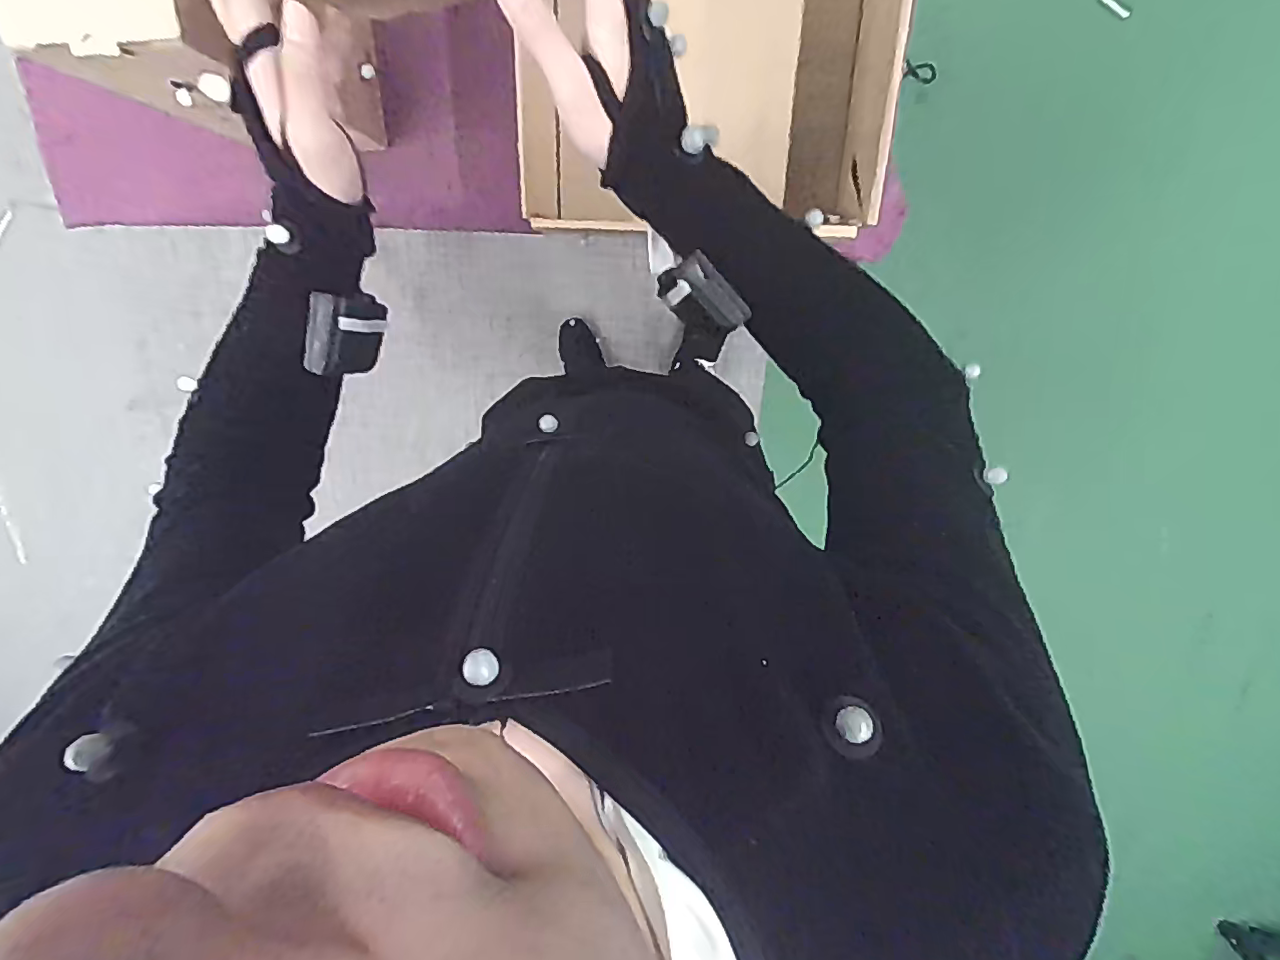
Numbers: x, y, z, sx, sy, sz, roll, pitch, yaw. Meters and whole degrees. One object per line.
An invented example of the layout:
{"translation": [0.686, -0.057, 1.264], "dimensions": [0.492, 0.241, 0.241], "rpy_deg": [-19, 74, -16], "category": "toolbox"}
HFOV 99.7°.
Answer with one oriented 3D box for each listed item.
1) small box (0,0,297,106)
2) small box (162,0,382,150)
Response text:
{"translation": [-0.458, -0.471, 0.504], "dimensions": [0.168, 0.176, 0.179], "rpy_deg": [1, 109, 2], "category": "small box"}
{"translation": [-0.450, -0.518, 0.661], "dimensions": [0.179, 0.176, 0.168], "rpy_deg": [0, 108, 3], "category": "small box"}
